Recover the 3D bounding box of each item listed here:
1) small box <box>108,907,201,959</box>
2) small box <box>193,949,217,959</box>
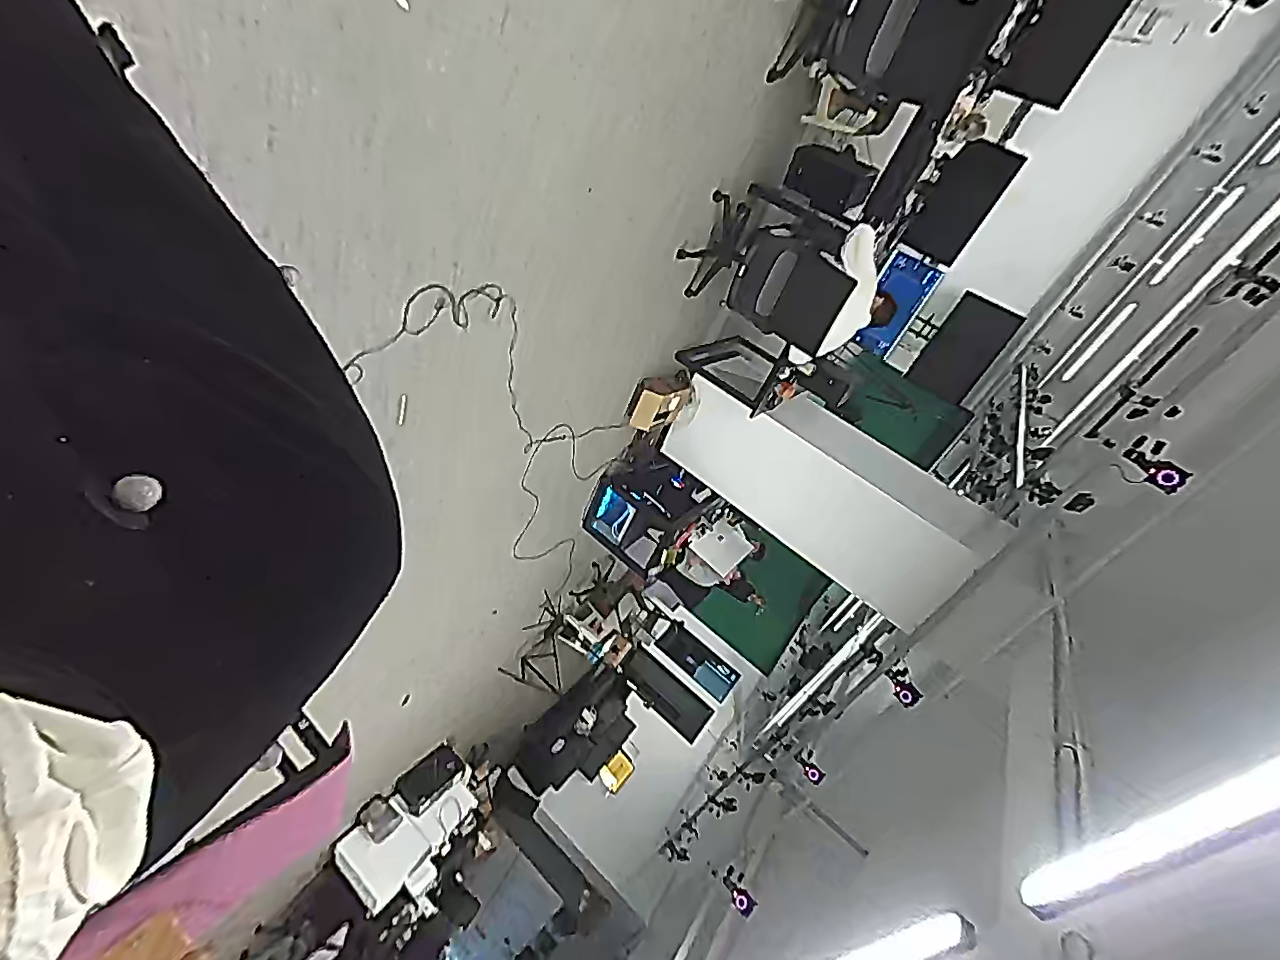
[{"bbox_3d":[-1.400,1.398,1.559,0.179,0.176,0.168,-30,153,-48],"label":"small box"},{"bbox_3d":[-1.264,1.480,1.518,0.179,0.176,0.168,-30,153,-48],"label":"small box"}]
